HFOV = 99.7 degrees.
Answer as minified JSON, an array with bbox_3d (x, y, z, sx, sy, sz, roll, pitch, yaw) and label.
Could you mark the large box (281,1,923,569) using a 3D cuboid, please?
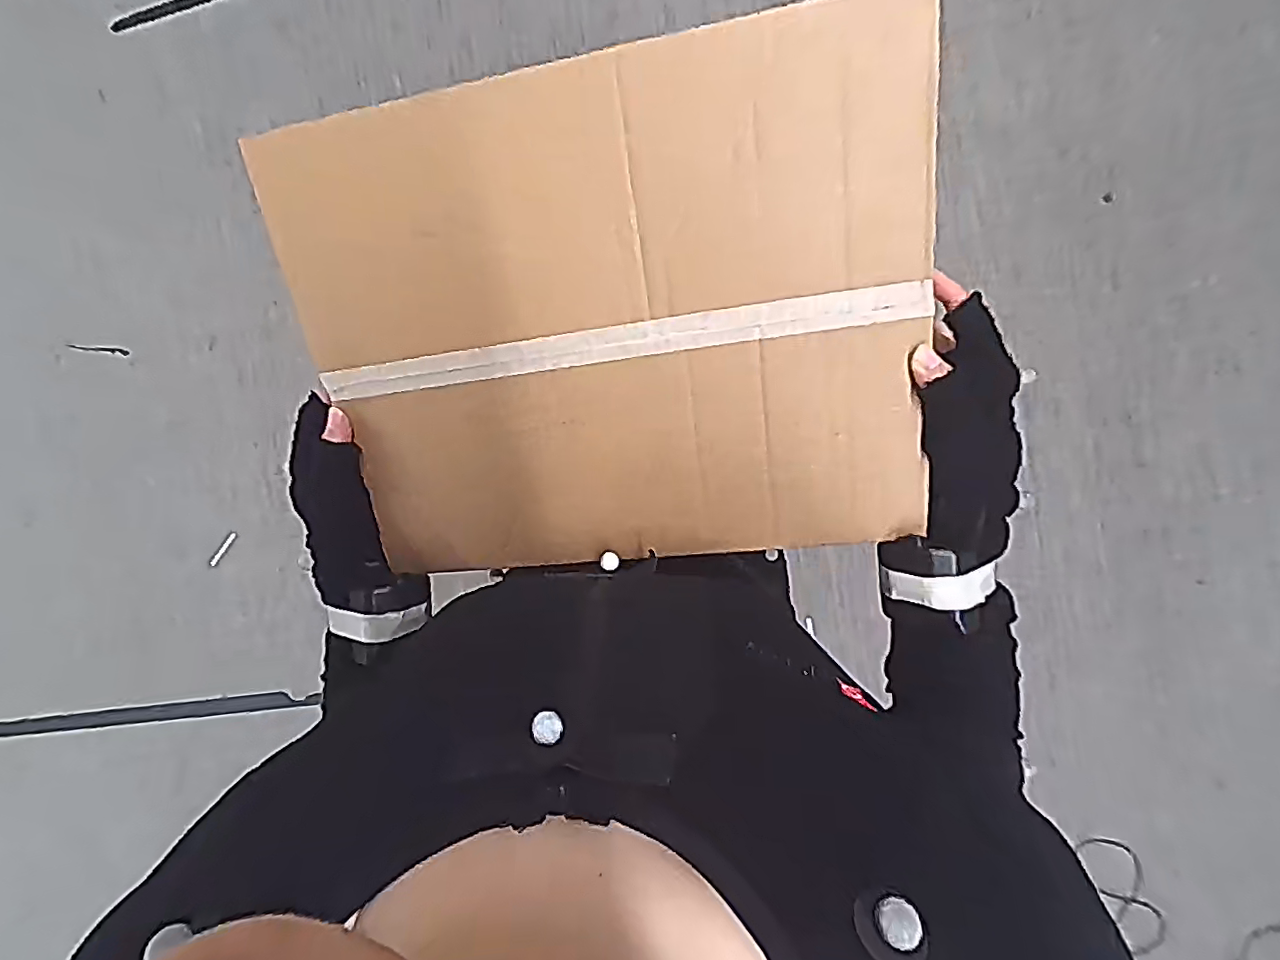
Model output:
[{"bbox_3d":[-0.003,-0.140,0.506,0.408,0.320,0.320,-6,111,10],"label":"large box"}]
